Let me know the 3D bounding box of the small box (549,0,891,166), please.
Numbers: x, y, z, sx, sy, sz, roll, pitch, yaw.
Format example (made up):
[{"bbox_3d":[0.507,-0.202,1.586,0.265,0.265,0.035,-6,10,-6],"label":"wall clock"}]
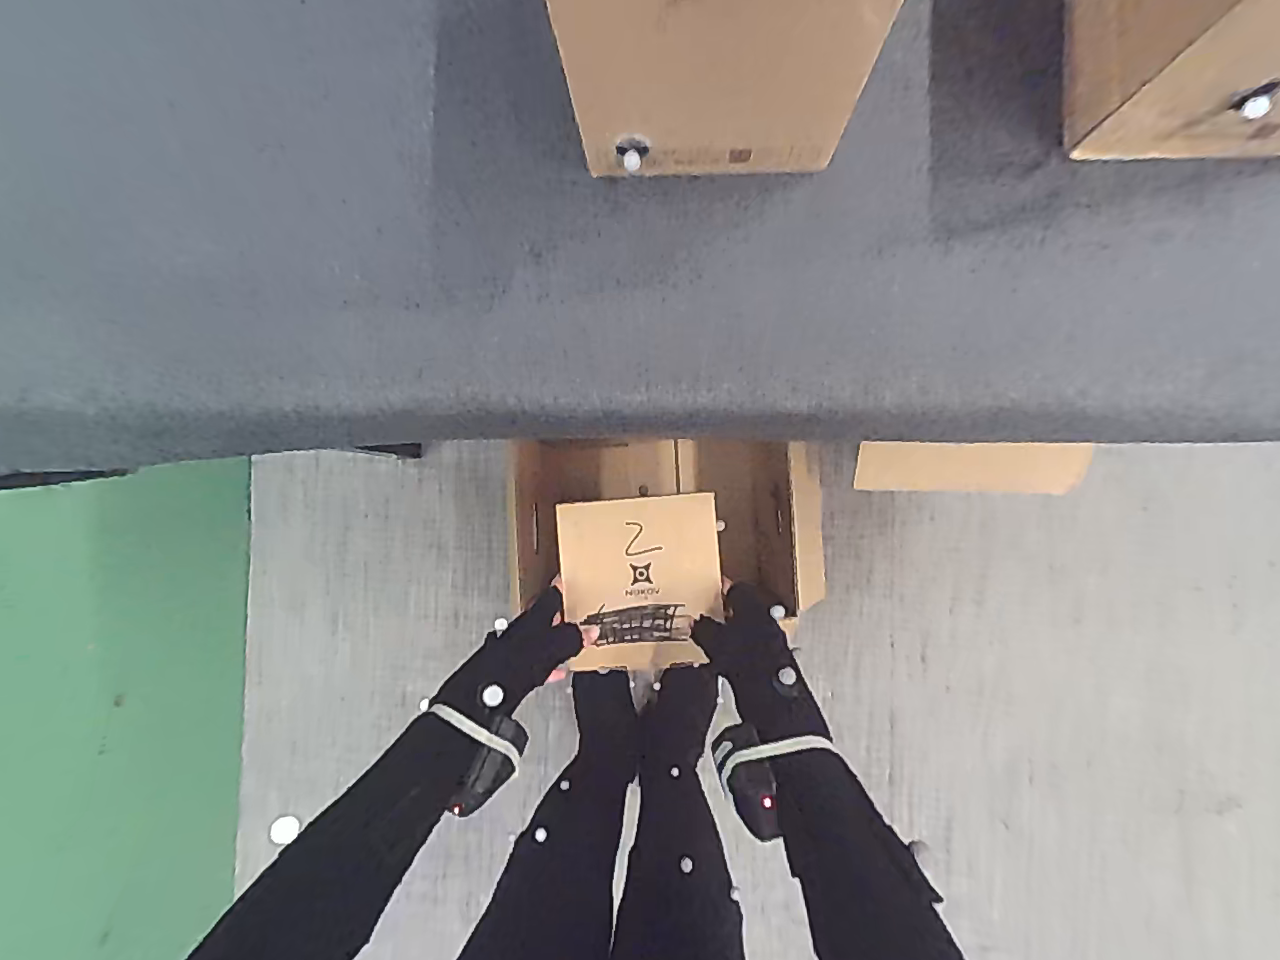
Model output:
[{"bbox_3d":[0.044,-0.301,0.298,0.168,0.176,0.179,1,87,3],"label":"small box"}]

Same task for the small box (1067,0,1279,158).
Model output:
[{"bbox_3d":[0.364,-0.304,0.281,0.168,0.176,0.179,1,89,4],"label":"small box"}]
